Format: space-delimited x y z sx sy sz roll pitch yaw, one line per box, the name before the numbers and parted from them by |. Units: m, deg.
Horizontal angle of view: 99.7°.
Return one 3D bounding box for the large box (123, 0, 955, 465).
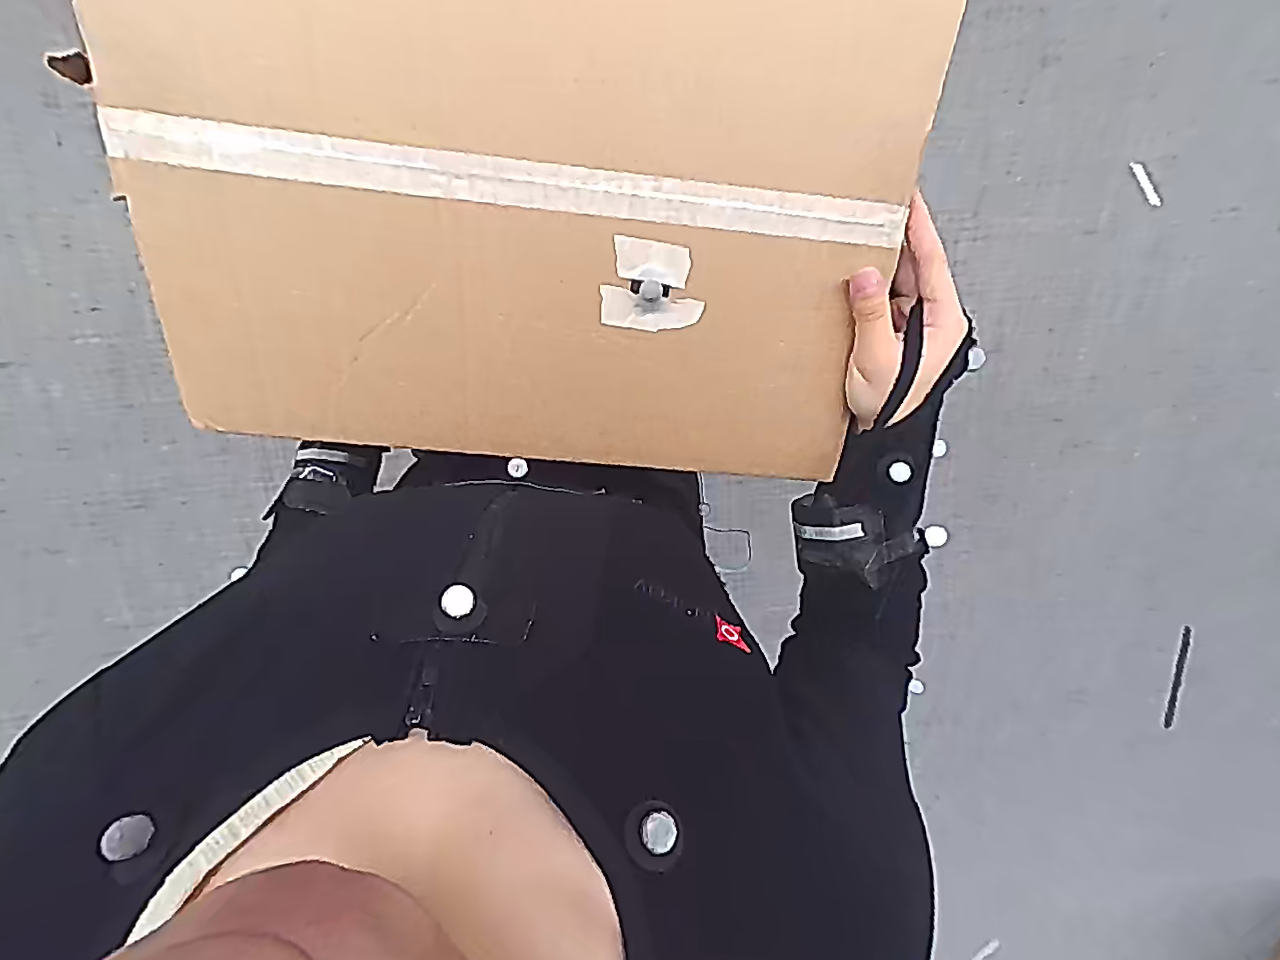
large box | -0.060 -0.219 0.428 0.408 0.320 0.320 4 116 -6
